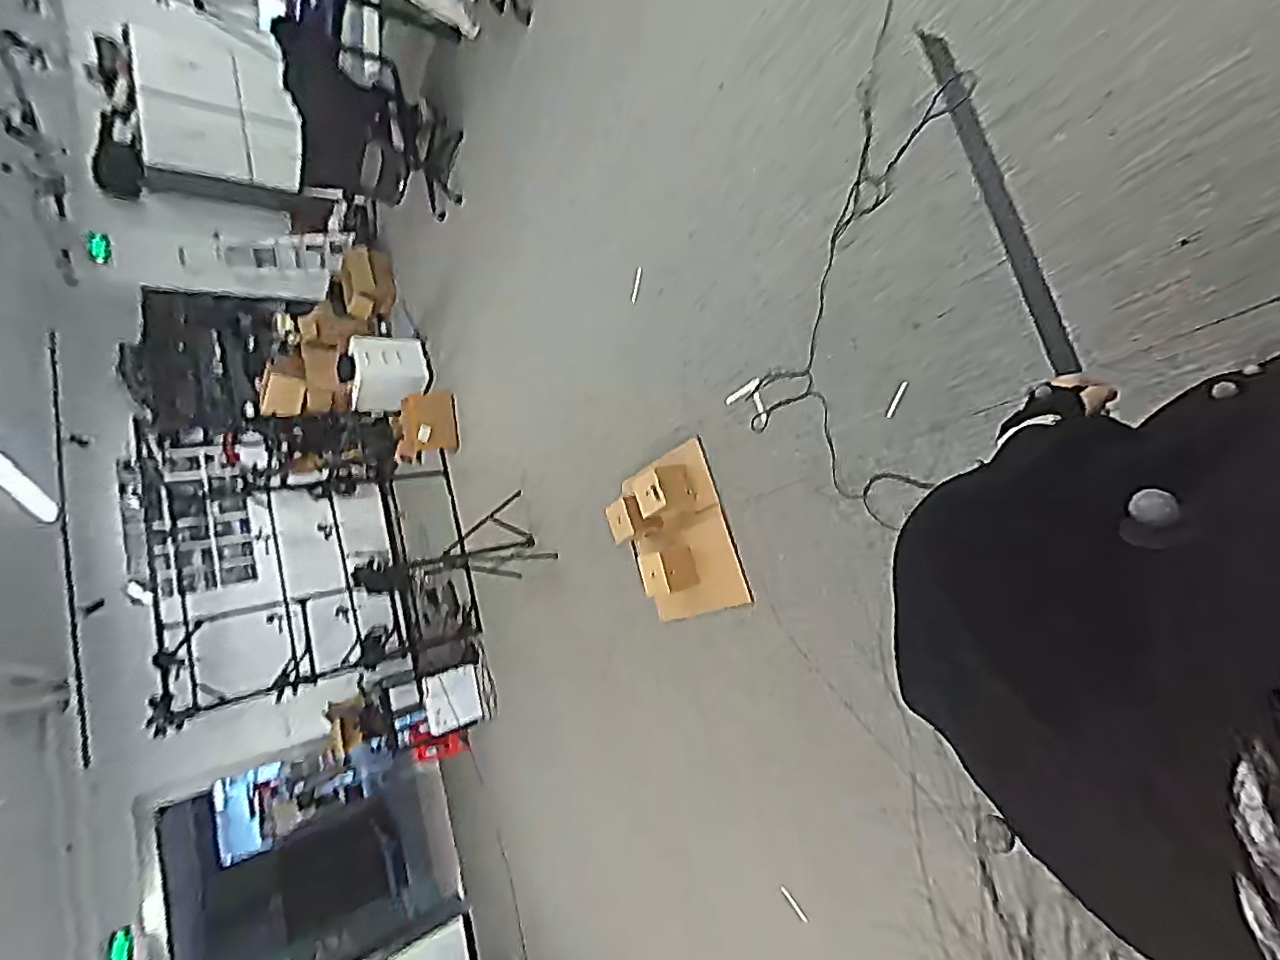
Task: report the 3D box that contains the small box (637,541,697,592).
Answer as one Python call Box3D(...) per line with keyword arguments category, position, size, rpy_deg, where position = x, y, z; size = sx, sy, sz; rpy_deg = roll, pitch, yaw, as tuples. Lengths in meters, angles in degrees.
Box3D(category="small box", position=(0.117, 0.365, 2.308), size=(0.168, 0.176, 0.179), rpy_deg=(-24, 78, 52))

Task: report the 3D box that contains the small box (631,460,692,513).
Box3D(category="small box", position=(0.097, 0.024, 2.268), size=(0.179, 0.176, 0.168), rpy_deg=(-36, 69, 50))

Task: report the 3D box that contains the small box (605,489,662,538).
Box3D(category="small box", position=(-0.029, 0.146, 2.461), size=(0.168, 0.176, 0.179), rpy_deg=(-38, 67, 50))
